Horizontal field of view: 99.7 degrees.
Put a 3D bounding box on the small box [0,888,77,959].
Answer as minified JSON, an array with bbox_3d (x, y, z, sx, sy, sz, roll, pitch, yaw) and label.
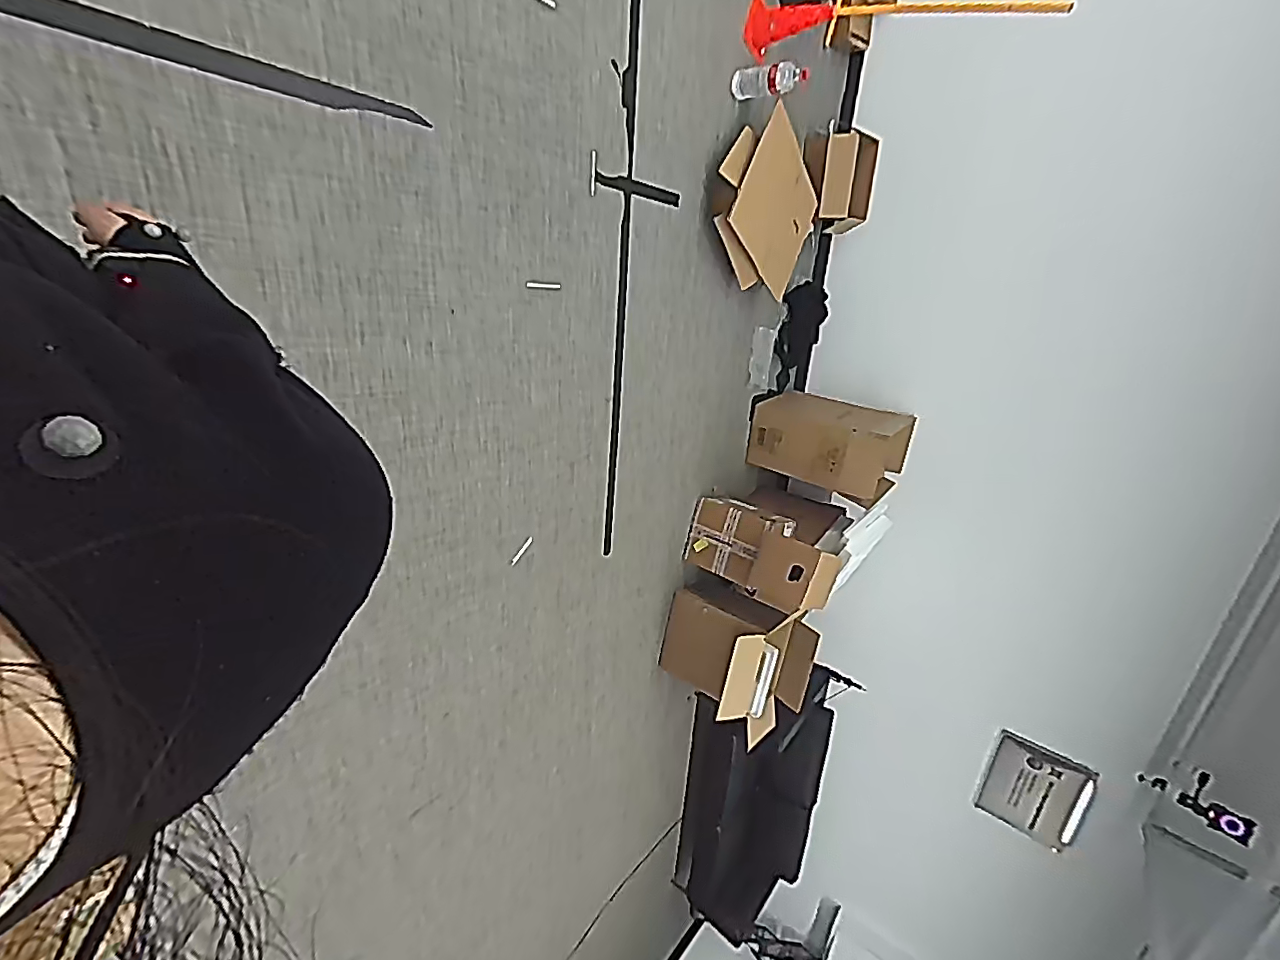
[{"bbox_3d":[-1.096,0.861,0.920,0.179,0.176,0.168,-21,120,-47],"label":"small box"}]
